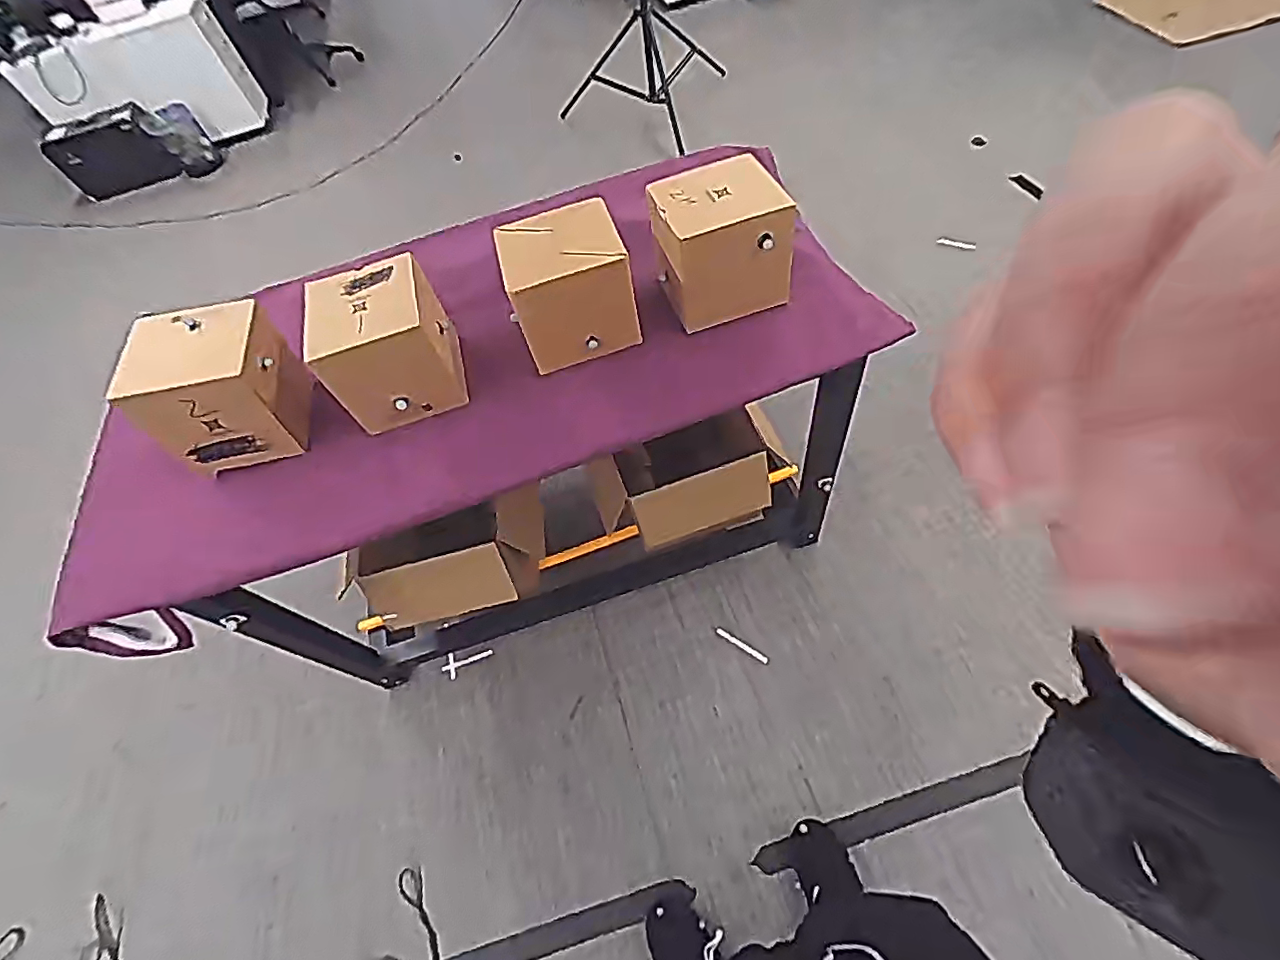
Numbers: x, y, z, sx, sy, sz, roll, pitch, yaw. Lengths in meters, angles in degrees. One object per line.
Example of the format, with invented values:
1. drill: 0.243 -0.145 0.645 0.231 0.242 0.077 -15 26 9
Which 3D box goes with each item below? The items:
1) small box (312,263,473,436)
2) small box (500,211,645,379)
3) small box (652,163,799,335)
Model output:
1. small box: -0.379 -0.200 0.848 0.168 0.176 0.179 -19 57 -3
2. small box: -0.106 -0.296 0.858 0.179 0.176 0.168 -18 55 -1
3. small box: 0.130 -0.362 0.861 0.179 0.176 0.168 -18 54 -2
